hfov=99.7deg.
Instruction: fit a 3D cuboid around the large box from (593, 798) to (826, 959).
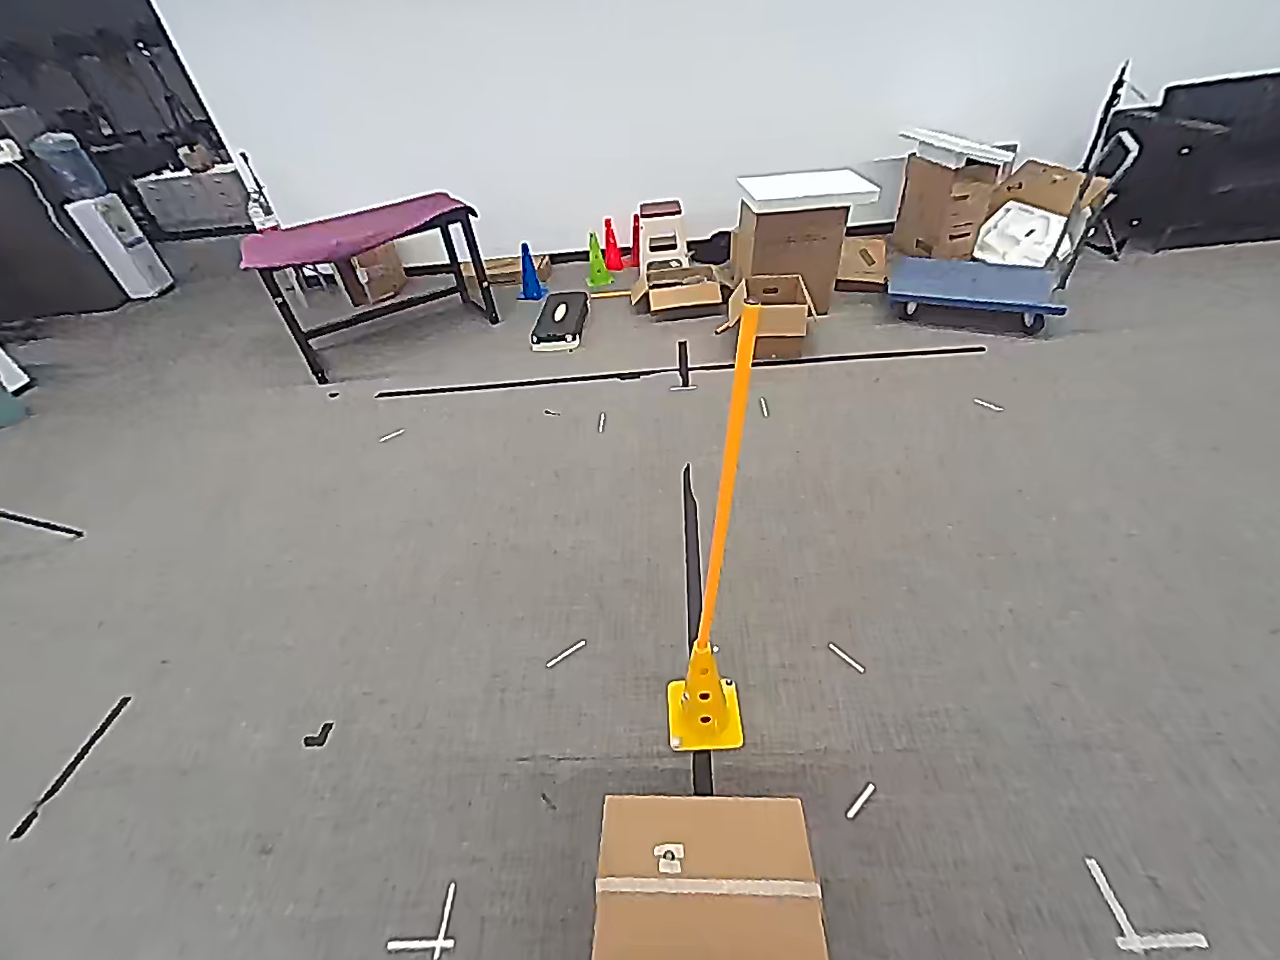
[{"bbox_3d":[0.134,0.873,1.094,0.408,0.320,0.320,-3,38,5],"label":"large box"}]
